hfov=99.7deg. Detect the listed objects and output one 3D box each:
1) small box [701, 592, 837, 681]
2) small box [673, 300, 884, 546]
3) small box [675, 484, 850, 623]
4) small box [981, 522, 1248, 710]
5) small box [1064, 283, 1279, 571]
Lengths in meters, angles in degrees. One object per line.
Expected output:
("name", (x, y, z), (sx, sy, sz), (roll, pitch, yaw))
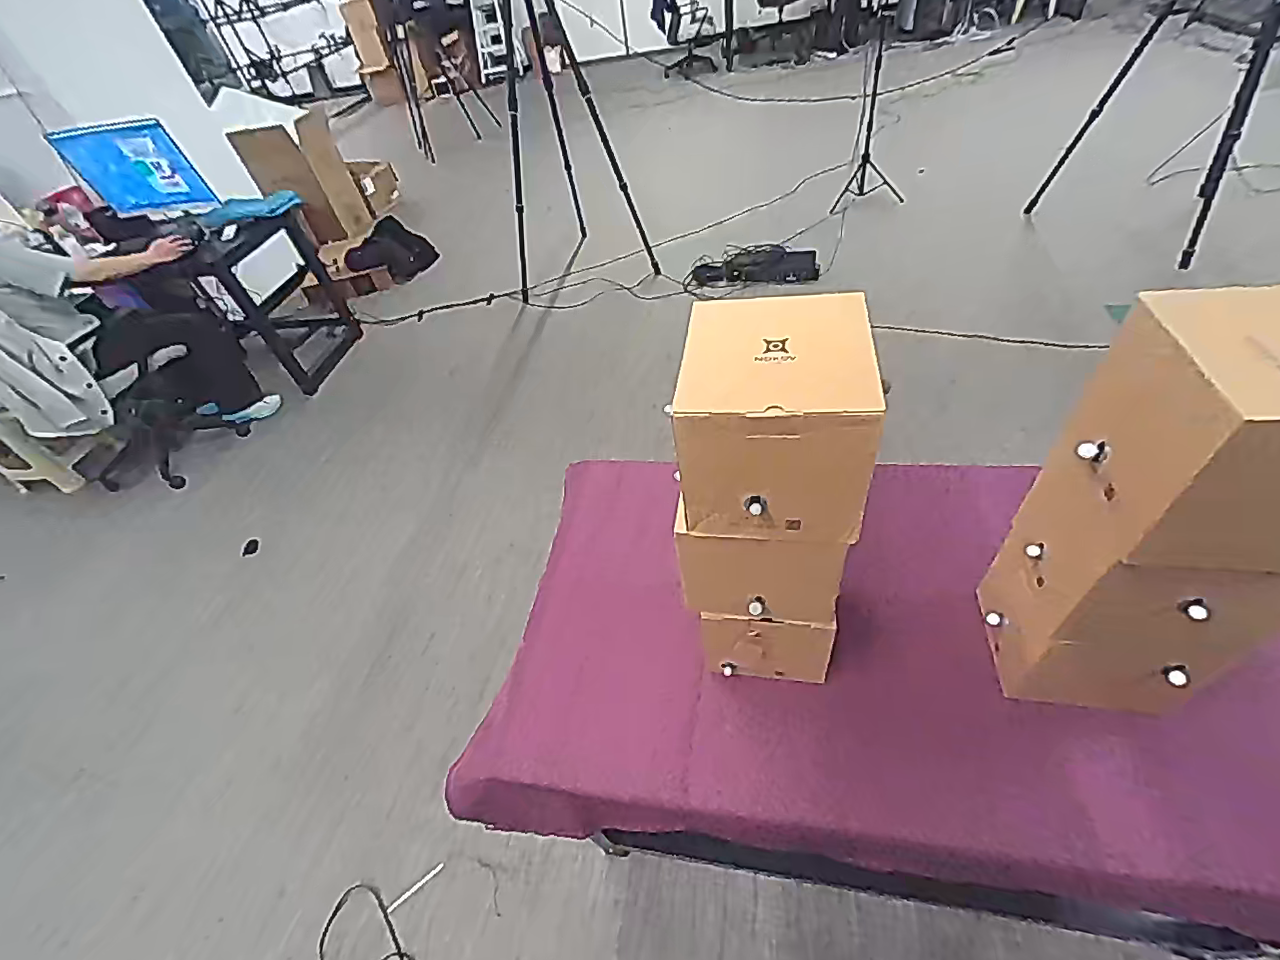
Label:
("small box", (0.183, 0.167, 0.771), (0.168, 0.176, 0.179), (1, 47, 13))
("small box", (0.131, -0.056, 0.537), (0.168, 0.176, 0.179), (1, 48, 13))
("small box", (0.146, 0.057, 0.654), (0.179, 0.176, 0.168), (2, 48, 13))
("small box", (0.566, 0.173, 0.680), (0.179, 0.176, 0.168), (2, 48, 14))
("small box", (0.498, -0.040, 0.439), (0.179, 0.176, 0.168), (1, 47, 14))
